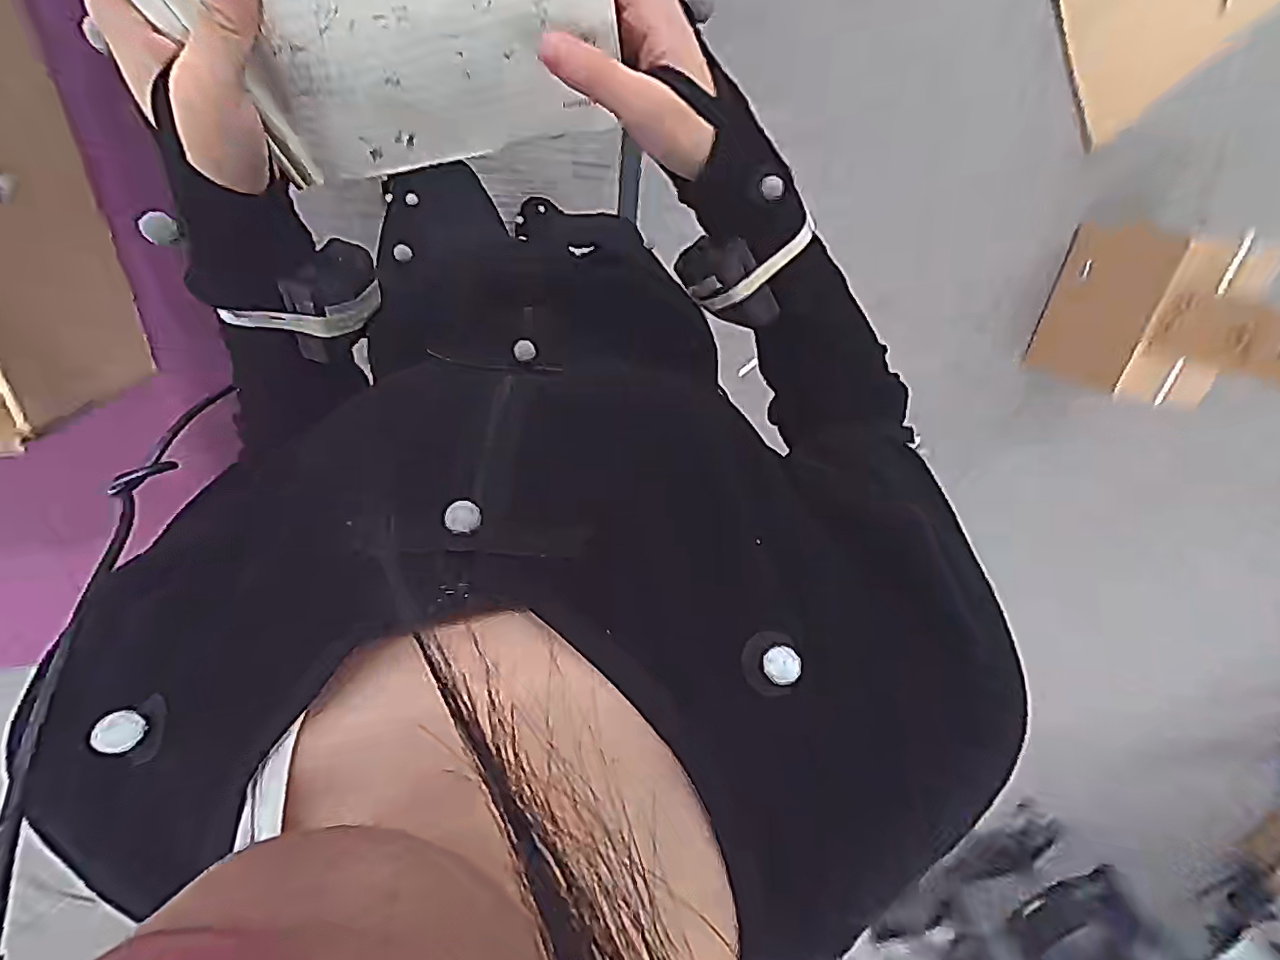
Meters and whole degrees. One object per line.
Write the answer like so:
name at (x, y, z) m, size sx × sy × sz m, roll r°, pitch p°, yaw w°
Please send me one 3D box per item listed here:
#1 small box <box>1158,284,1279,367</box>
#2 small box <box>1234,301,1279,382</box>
small box at (1.395, -0.358, 1.269) m, size 0.179 × 0.176 × 0.168 m, roll 3°, pitch 117°, yaw -13°
small box at (1.432, -0.282, 1.128) m, size 0.179 × 0.176 × 0.168 m, roll 1°, pitch 118°, yaw -10°
